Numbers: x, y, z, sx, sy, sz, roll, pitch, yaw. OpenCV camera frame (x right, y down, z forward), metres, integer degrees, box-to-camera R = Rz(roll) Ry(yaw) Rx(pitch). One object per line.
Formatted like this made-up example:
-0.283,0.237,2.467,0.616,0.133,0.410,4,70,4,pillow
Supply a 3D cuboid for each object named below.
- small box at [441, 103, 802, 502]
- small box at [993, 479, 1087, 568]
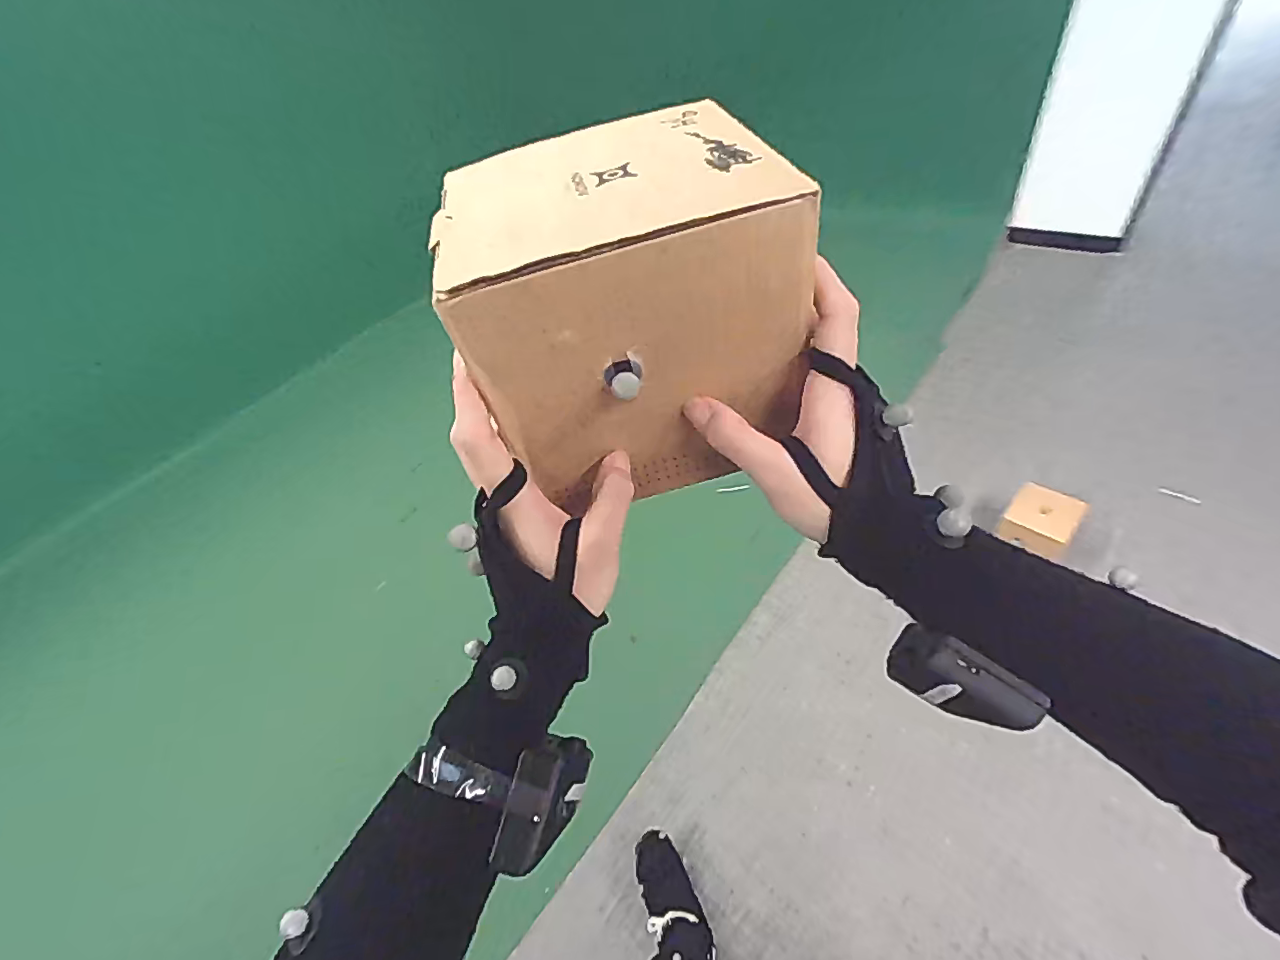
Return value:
-0.005,-0.109,0.355,0.179,0.176,0.168,-16,48,1,small box
1.212,0.135,1.651,0.168,0.176,0.179,31,62,35,small box
